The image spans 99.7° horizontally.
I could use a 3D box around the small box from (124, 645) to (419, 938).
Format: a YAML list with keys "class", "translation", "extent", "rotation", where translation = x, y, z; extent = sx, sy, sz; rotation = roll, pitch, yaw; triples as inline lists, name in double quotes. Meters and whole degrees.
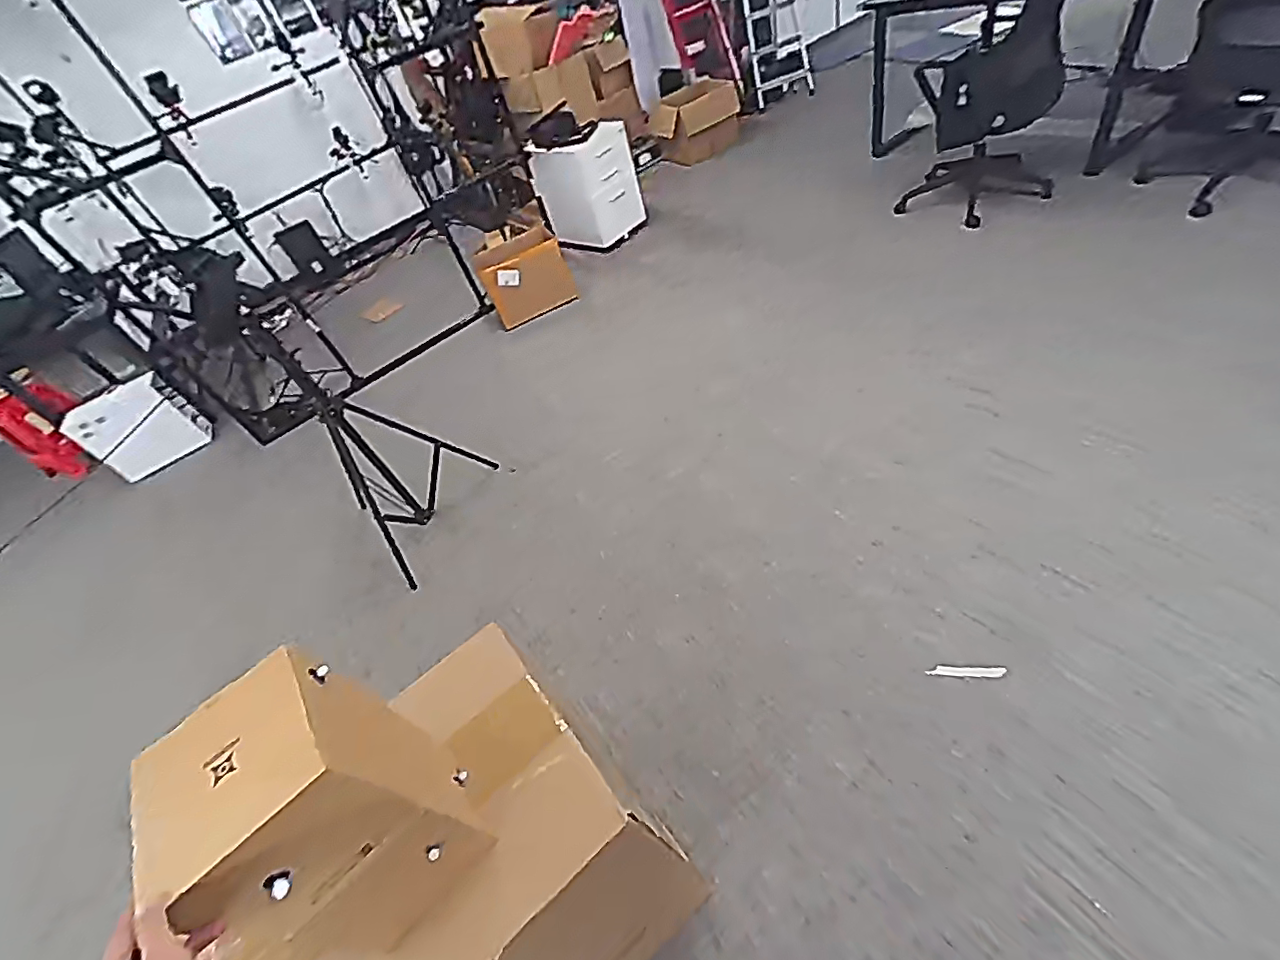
- class: "small box"
  translation: [-0.357, 0.308, 0.542]
  extent: [0.168, 0.176, 0.179]
  rotation: [-40, 47, -17]
